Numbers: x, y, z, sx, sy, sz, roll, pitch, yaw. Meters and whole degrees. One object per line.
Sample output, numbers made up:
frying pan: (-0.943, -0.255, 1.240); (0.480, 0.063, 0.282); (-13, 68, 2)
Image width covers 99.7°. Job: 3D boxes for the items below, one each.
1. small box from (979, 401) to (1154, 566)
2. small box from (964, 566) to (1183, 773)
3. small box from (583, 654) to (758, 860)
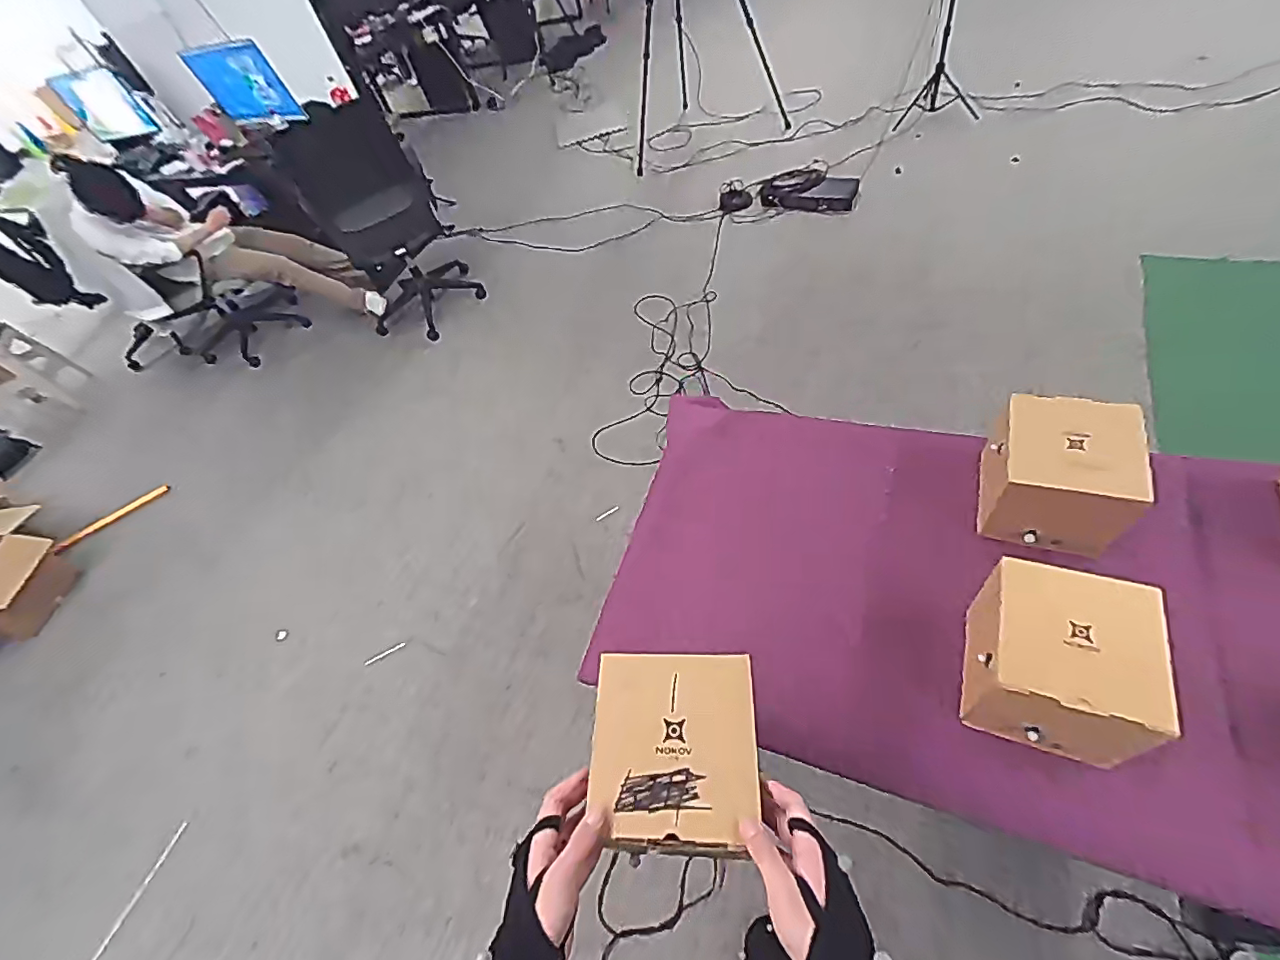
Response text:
small box: (0.643, 0.006, 0.837); (0.168, 0.176, 0.179); (11, 59, 23)
small box: (0.528, 0.241, 0.687); (0.168, 0.176, 0.179); (12, 56, 22)
small box: (0.043, 0.310, 0.603); (0.168, 0.176, 0.179); (-1, 51, 8)
